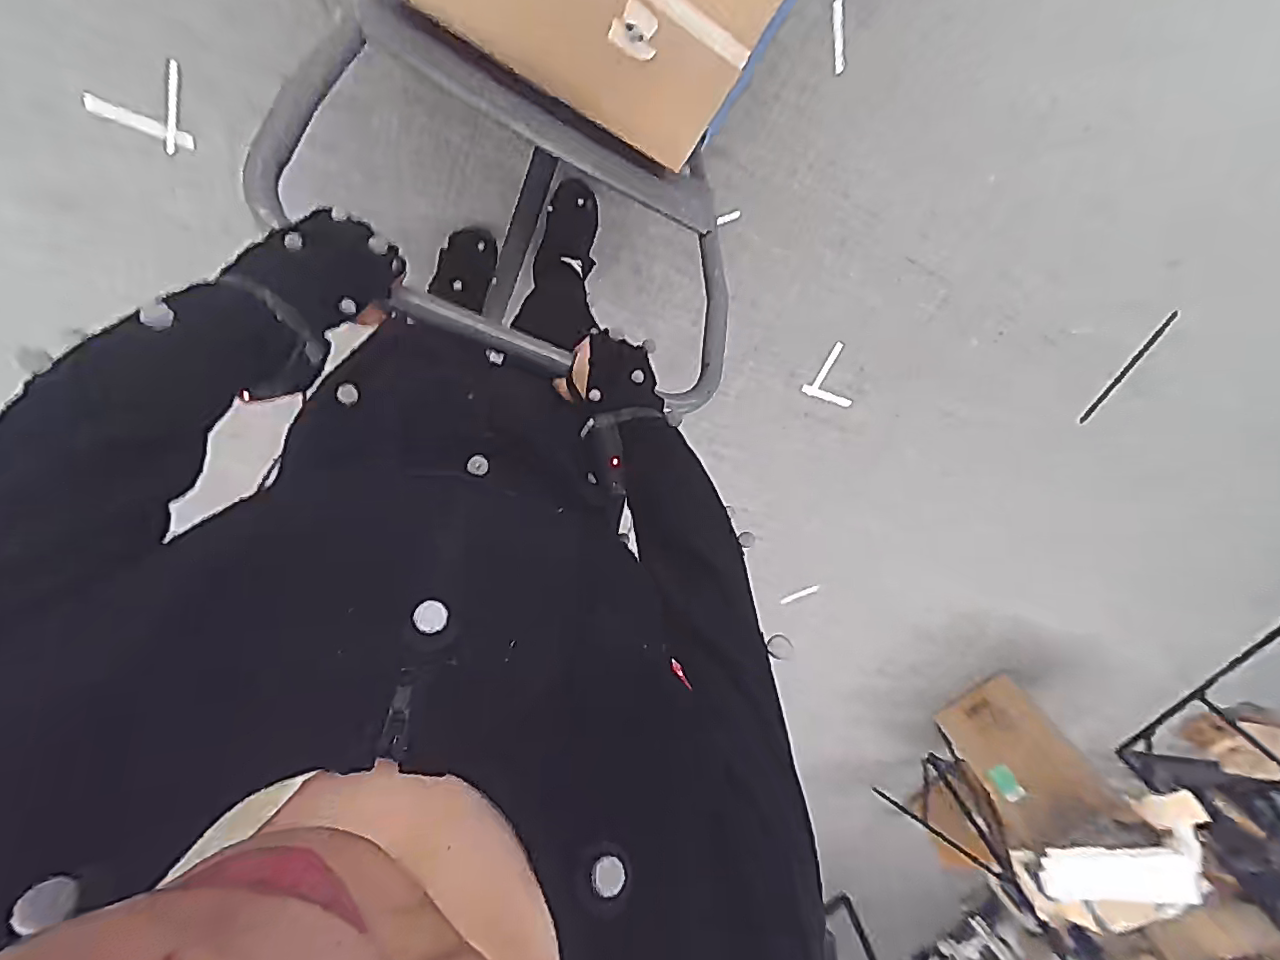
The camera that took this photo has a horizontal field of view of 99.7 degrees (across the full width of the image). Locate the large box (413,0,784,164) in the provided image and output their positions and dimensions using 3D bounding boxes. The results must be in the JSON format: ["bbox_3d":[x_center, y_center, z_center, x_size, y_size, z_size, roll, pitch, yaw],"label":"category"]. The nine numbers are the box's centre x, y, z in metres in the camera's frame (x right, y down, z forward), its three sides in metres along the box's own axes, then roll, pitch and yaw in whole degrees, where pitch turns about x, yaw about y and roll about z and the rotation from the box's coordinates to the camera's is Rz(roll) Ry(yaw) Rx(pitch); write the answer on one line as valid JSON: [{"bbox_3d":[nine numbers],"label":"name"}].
[{"bbox_3d":[-0.041,-0.705,0.681,0.408,0.320,0.320,18,139,-26],"label":"large box"}]
